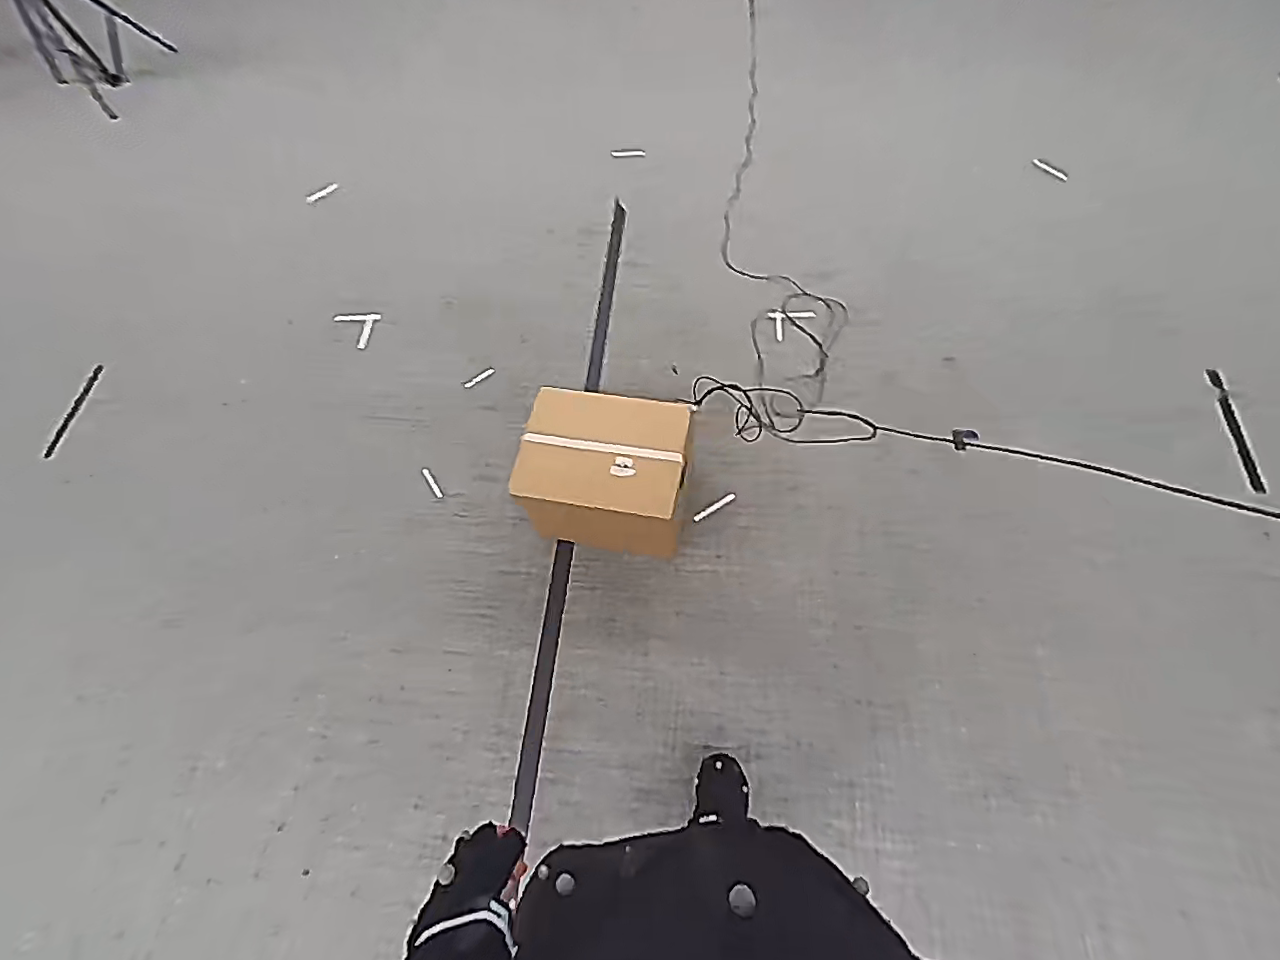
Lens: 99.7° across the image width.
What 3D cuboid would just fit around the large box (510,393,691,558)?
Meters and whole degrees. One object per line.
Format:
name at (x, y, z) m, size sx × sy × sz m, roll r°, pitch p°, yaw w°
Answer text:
large box at (-0.085, -0.004, 1.463) m, size 0.408 × 0.320 × 0.320 m, roll 8°, pitch 66°, yaw 9°
